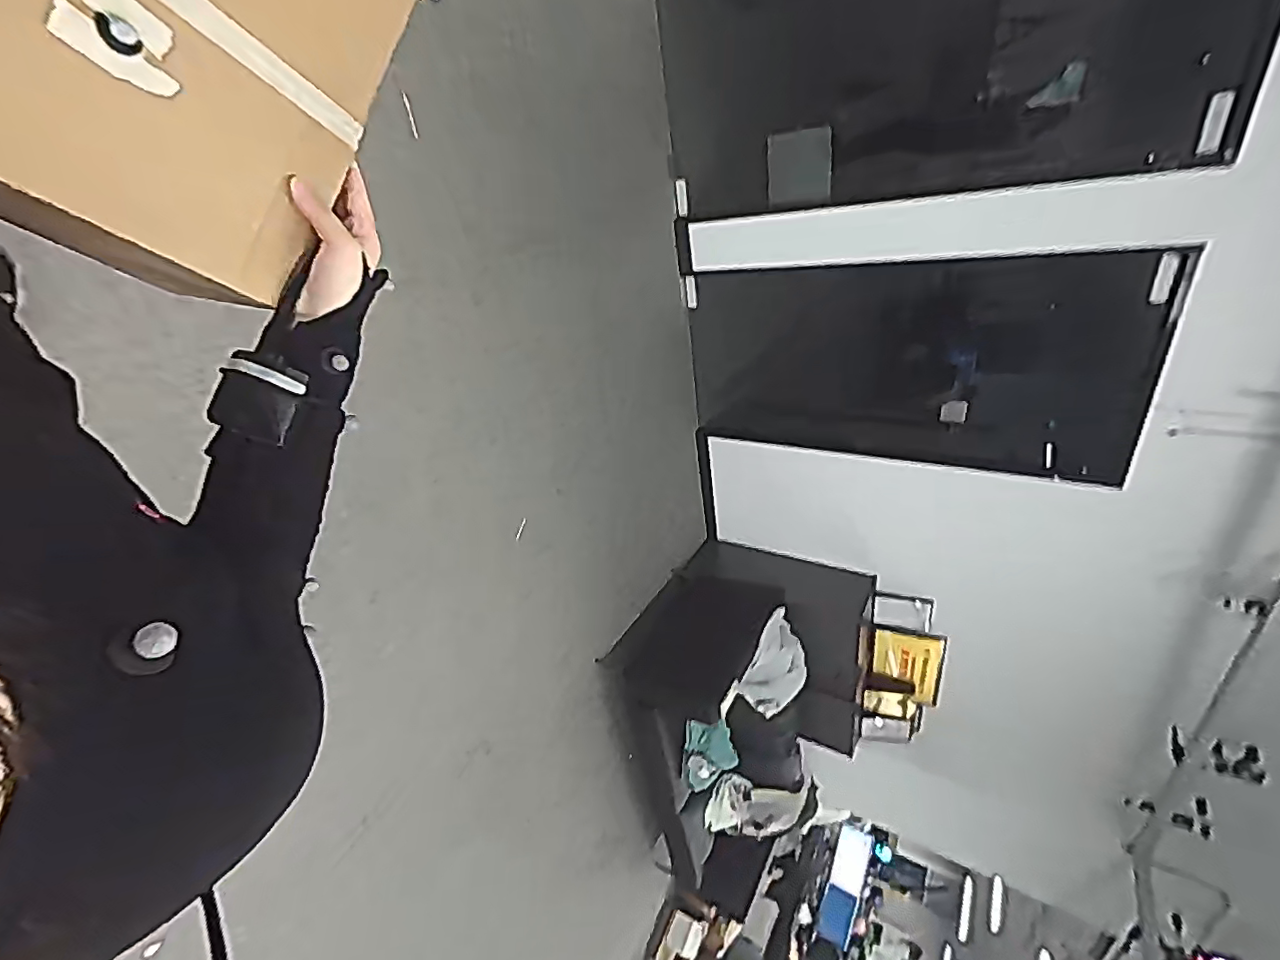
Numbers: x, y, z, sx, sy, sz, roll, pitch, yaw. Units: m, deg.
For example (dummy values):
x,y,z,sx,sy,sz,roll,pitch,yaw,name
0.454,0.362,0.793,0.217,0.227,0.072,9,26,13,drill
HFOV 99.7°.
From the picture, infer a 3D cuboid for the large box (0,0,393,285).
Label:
x,y,z,sx,sy,sz,roll,pitch,yaw,name
-0.467,-0.380,0.370,0.408,0.320,0.320,24,85,-55,large box
